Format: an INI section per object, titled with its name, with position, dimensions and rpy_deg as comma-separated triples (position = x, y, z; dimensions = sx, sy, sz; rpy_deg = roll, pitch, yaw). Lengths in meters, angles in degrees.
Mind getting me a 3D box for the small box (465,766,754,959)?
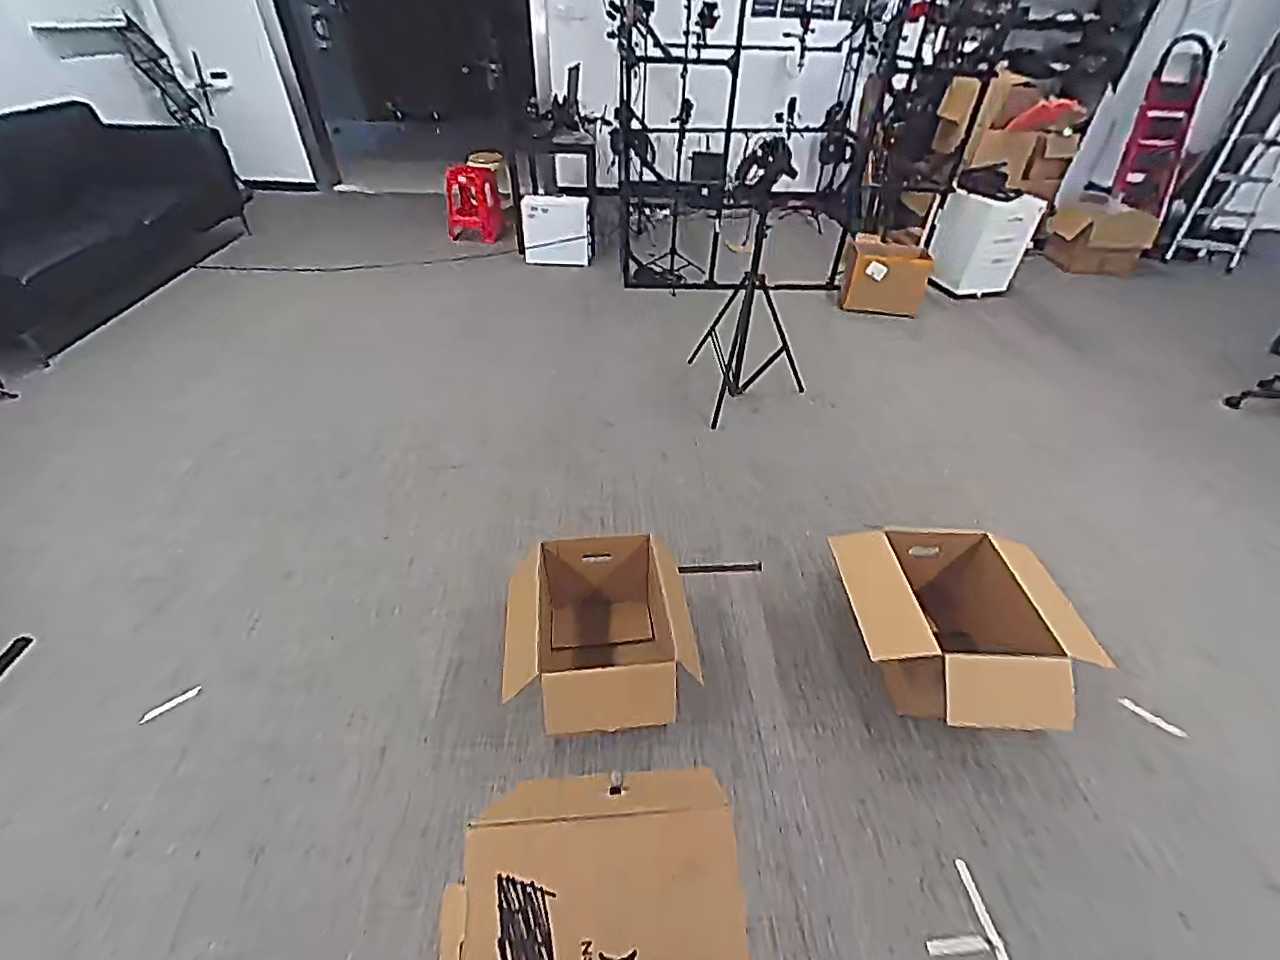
[small box]
position = -0.016, 0.316, 0.396
dimensions = 0.179, 0.176, 0.168
rpy_deg = -4, 69, -1
